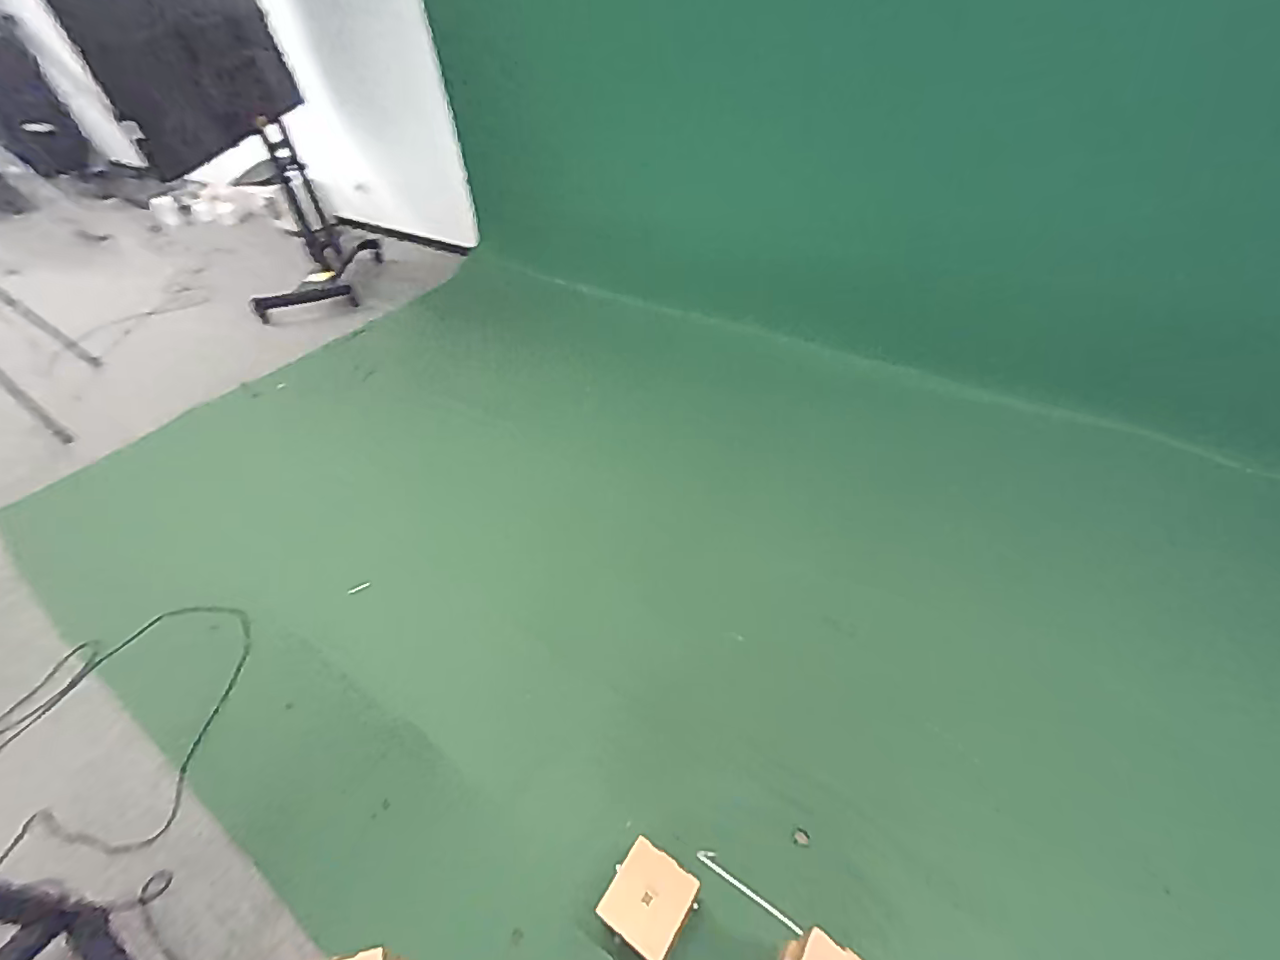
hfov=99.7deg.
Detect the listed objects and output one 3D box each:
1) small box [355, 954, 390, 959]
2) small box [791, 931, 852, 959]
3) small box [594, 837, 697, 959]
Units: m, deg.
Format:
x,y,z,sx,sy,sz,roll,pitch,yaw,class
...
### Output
x,y,z,sx,sy,sz,roll,pitch,yaw,class
-0.369,0.689,0.622,0.168,0.176,0.179,-9,45,-8,small box
0.337,0.968,0.969,0.168,0.176,0.179,27,52,28,small box
0.020,0.968,1.230,0.168,0.176,0.179,24,50,26,small box
